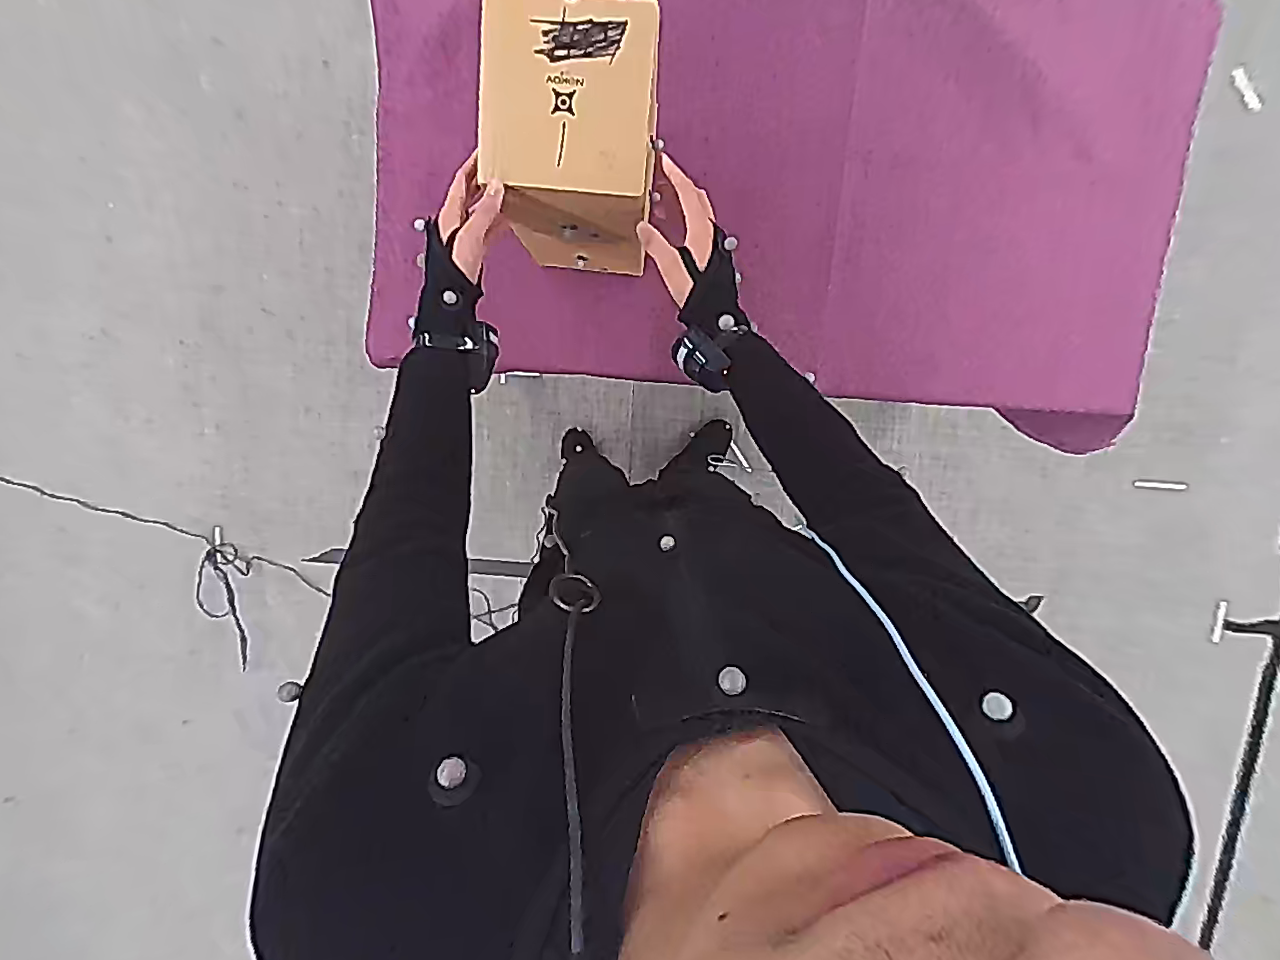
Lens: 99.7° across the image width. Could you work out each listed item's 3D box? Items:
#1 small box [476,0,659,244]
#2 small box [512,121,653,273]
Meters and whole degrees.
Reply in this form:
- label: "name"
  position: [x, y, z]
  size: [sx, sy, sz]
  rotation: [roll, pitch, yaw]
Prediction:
- label: "small box"
  position: [-0.072, -0.380, 0.596]
  size: [0.168, 0.176, 0.179]
  rotation: [5, 100, 0]
- label: "small box"
  position: [-0.073, -0.402, 0.758]
  size: [0.168, 0.176, 0.179]
  rotation: [6, 98, -1]
